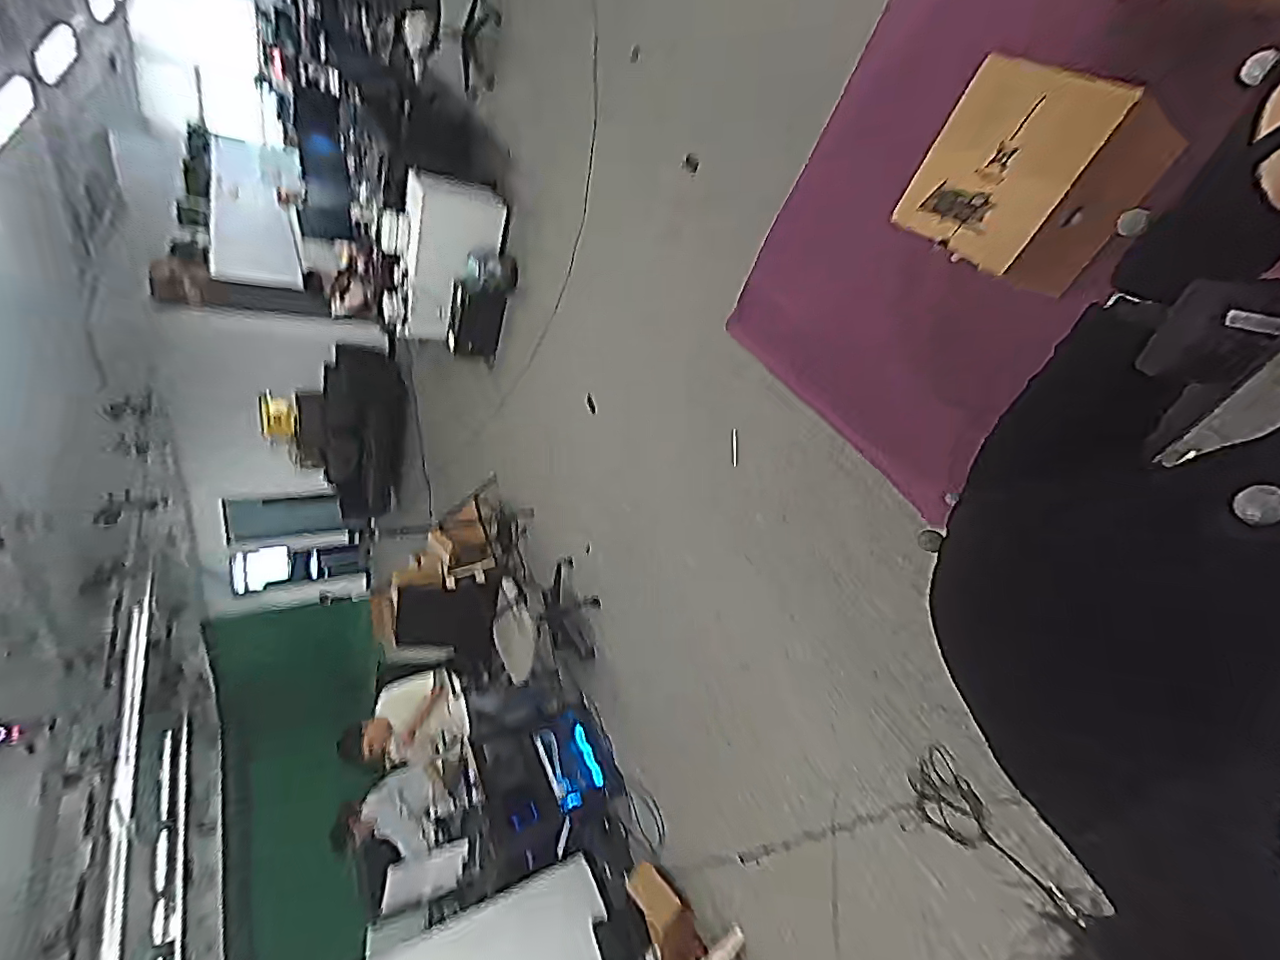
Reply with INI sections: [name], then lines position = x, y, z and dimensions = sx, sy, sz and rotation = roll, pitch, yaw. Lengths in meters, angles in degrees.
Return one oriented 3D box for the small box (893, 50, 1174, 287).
[small box]
position = 0.443, -0.342, 0.618
dimensions = 0.168, 0.176, 0.179
rotation = 55, 134, 36
